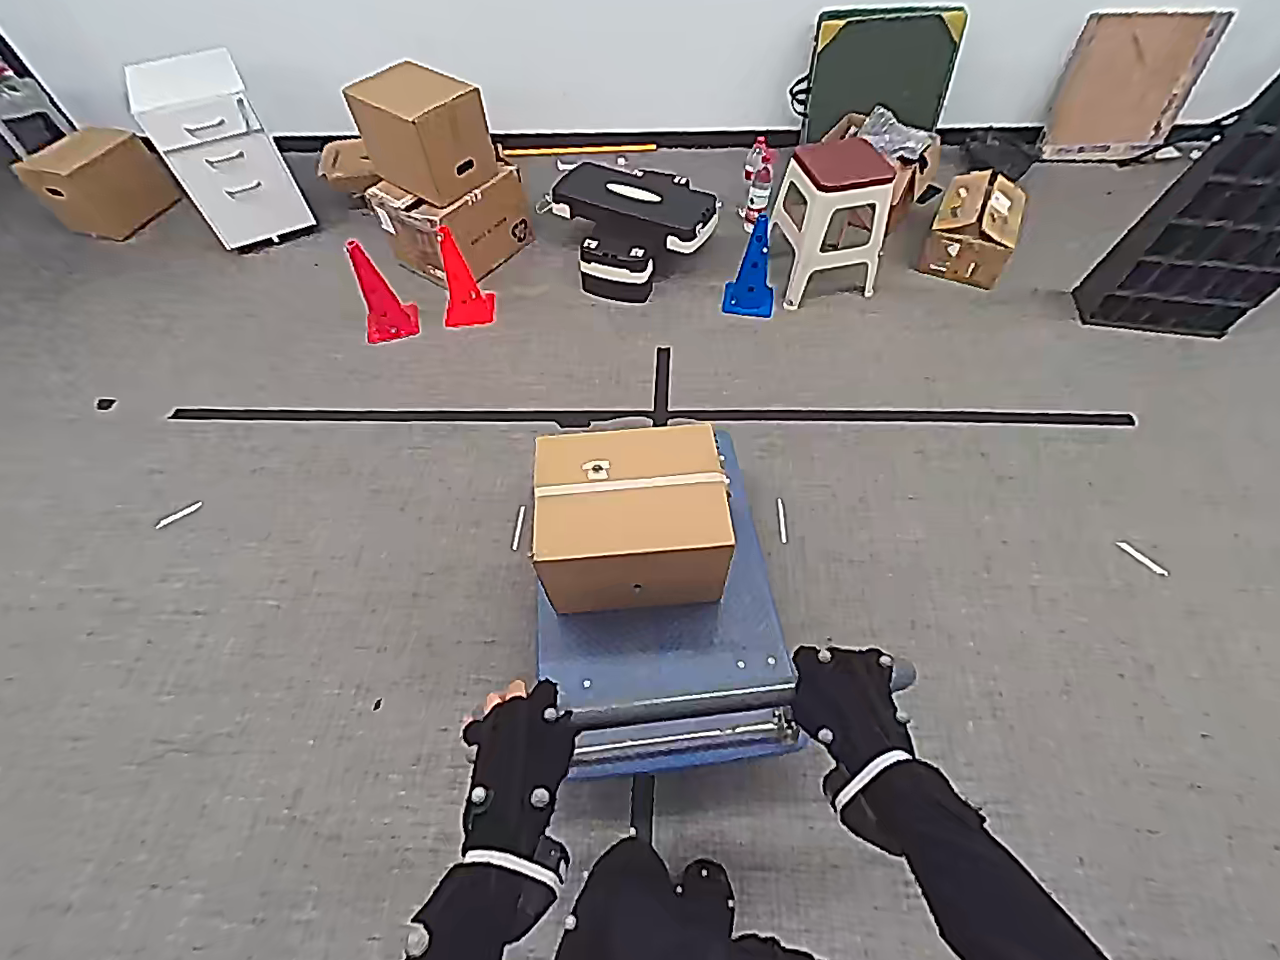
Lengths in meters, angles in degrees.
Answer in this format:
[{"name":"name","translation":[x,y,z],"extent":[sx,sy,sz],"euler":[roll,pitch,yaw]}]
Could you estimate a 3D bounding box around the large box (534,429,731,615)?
[{"name":"large box","translation":[-0.020,0.110,1.284],"extent":[0.408,0.320,0.320],"euler":[-5,57,-1]}]
